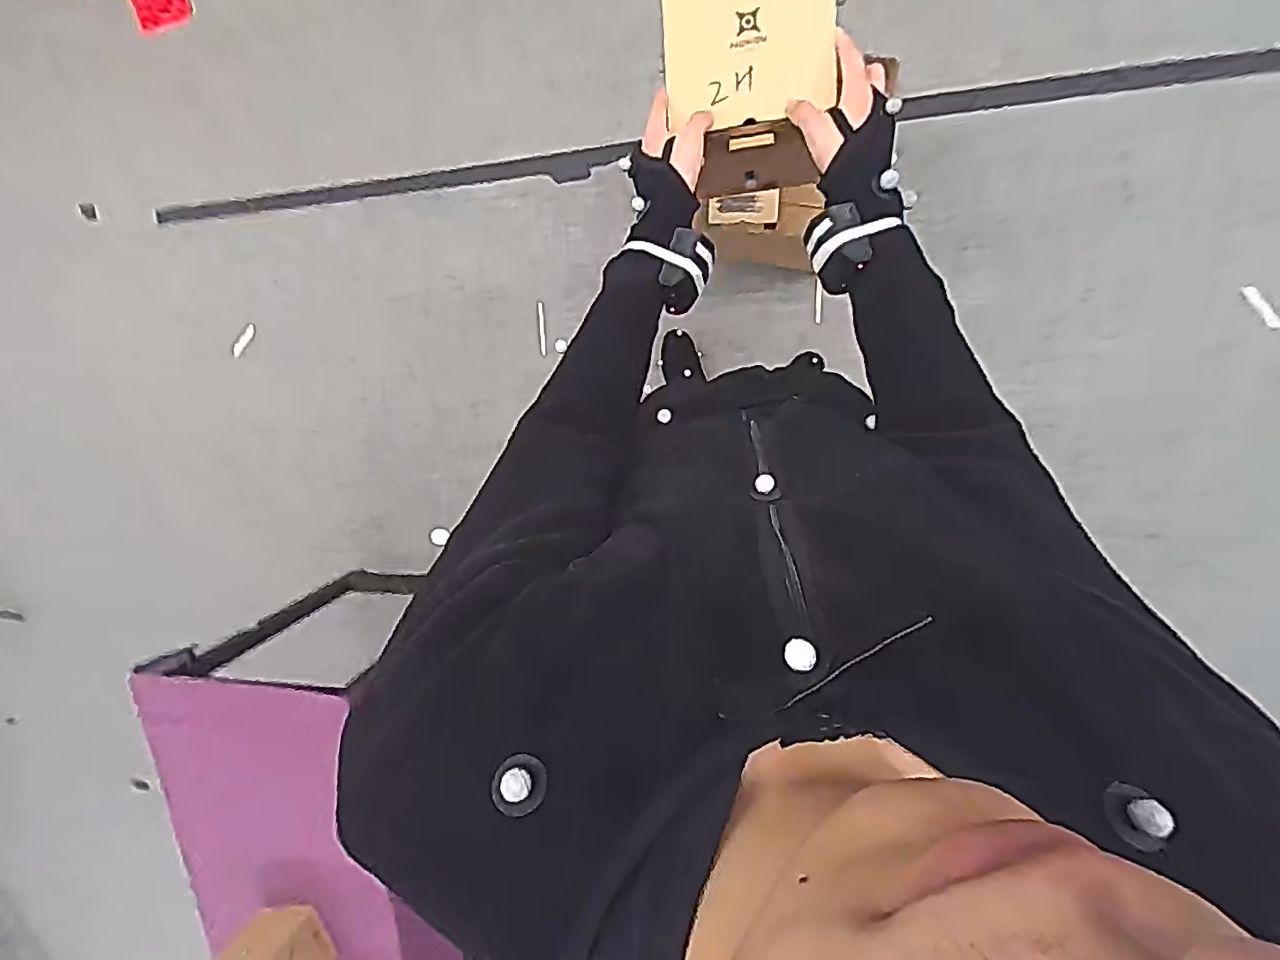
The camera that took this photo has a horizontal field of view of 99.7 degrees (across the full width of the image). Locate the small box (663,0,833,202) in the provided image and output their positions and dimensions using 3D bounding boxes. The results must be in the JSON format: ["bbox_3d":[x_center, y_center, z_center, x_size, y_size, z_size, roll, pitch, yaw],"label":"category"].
[{"bbox_3d":[0.120,-0.444,0.609,0.168,0.176,0.179,-2,96,13],"label":"small box"}]

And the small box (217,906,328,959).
[{"bbox_3d":[-0.886,1.165,1.295,0.179,0.176,0.168,-13,99,15],"label":"small box"}]
